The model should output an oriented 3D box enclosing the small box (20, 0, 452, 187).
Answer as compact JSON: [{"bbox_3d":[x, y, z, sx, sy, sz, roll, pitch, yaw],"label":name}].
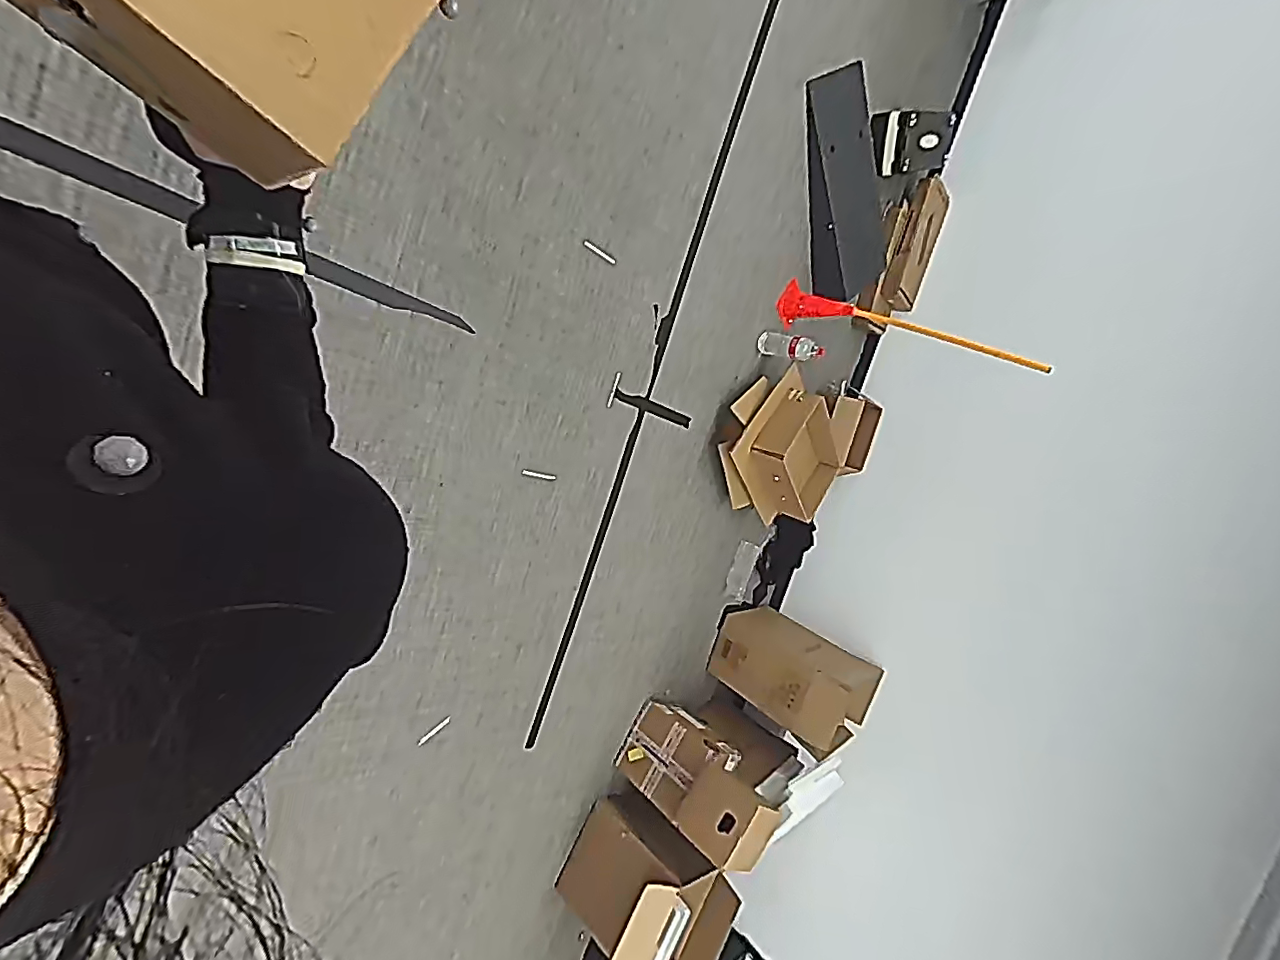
[{"bbox_3d":[-0.220,-0.293,0.295,0.168,0.176,0.179,34,81,-46],"label":"small box"}]
